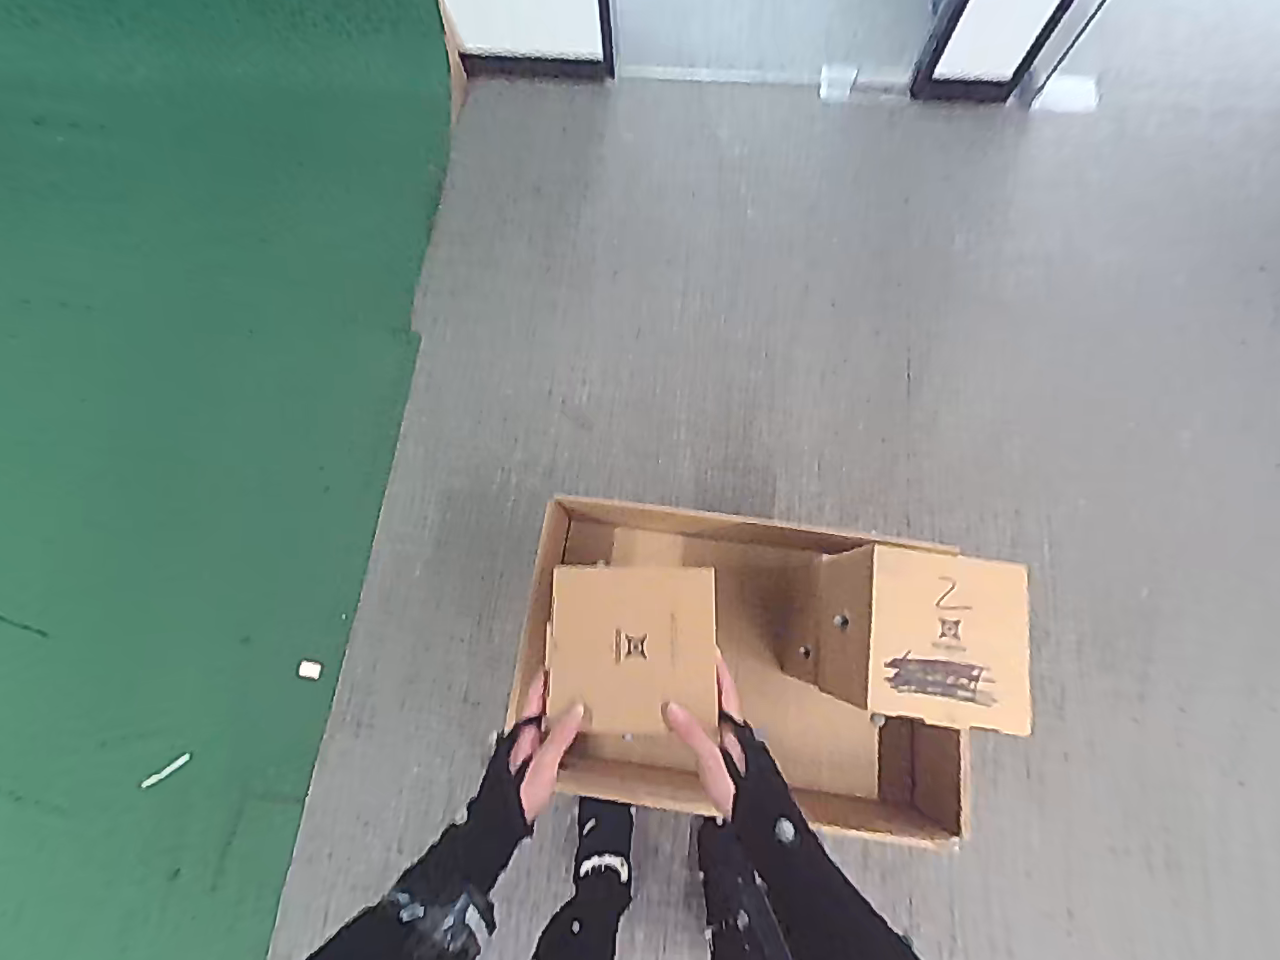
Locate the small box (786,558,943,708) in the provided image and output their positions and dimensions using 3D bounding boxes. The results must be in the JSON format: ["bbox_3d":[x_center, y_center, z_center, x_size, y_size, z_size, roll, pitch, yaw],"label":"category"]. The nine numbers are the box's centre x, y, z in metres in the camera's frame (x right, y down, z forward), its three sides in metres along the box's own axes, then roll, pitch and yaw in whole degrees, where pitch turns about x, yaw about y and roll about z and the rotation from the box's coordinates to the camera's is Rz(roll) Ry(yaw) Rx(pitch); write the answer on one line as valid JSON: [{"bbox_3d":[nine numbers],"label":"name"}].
[{"bbox_3d":[0.323,0.223,0.804,0.168,0.176,0.179,8,76,3],"label":"small box"}]

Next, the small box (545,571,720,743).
[{"bbox_3d":[-0.003,0.201,0.629,0.179,0.176,0.168,1,73,1],"label":"small box"}]
